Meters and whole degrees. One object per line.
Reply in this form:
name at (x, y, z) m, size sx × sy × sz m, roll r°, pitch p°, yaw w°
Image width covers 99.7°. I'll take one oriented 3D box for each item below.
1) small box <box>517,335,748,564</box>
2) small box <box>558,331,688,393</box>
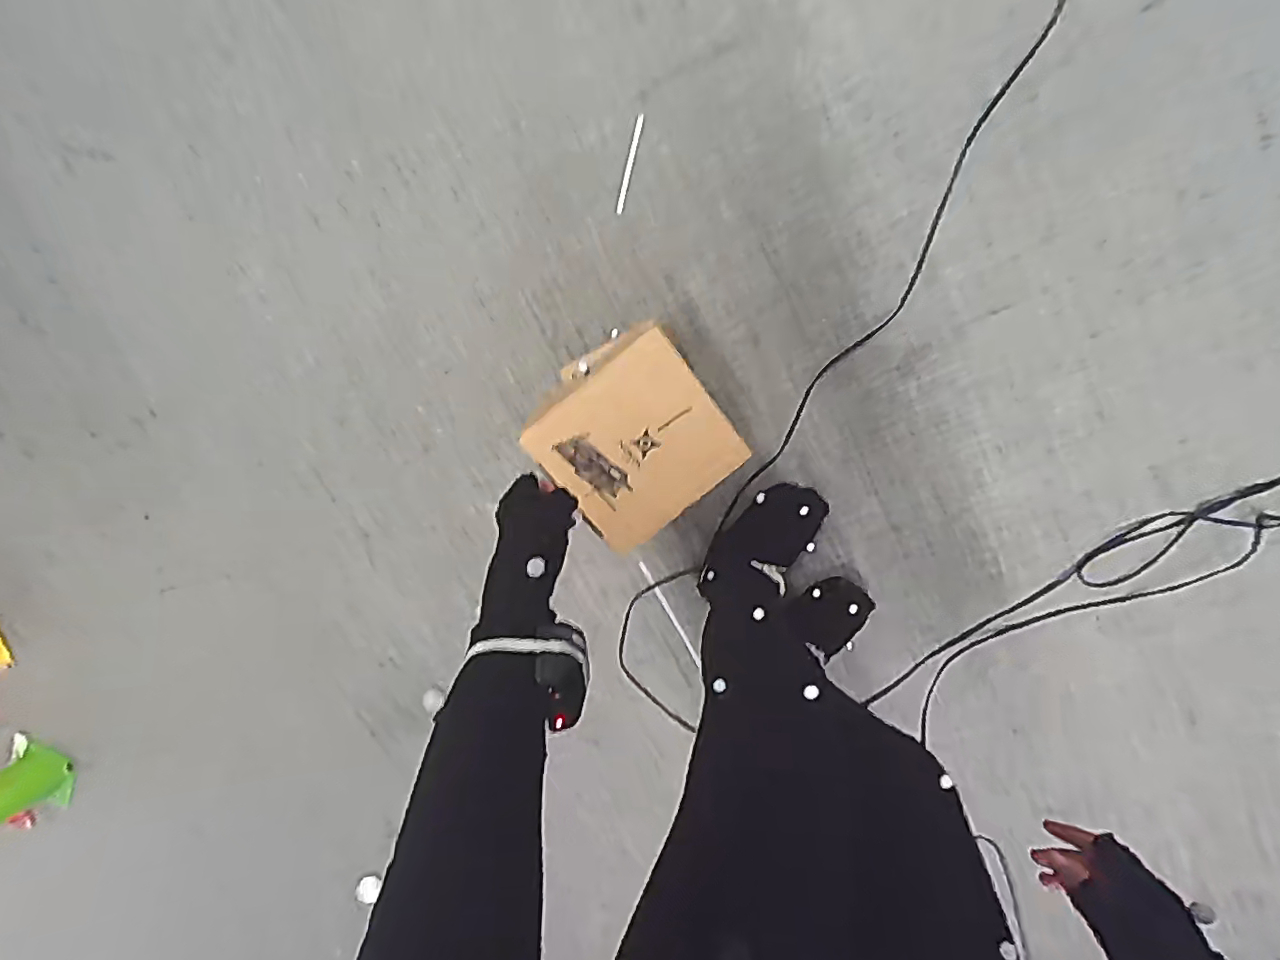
small box at (-0.013, -0.042, 0.611) m, size 0.179 × 0.176 × 0.168 m, roll -39°, pitch 105°, yaw 2°
small box at (-0.004, -0.133, 0.888) m, size 0.168 × 0.176 × 0.179 m, roll -24°, pitch 100°, yaw 15°
